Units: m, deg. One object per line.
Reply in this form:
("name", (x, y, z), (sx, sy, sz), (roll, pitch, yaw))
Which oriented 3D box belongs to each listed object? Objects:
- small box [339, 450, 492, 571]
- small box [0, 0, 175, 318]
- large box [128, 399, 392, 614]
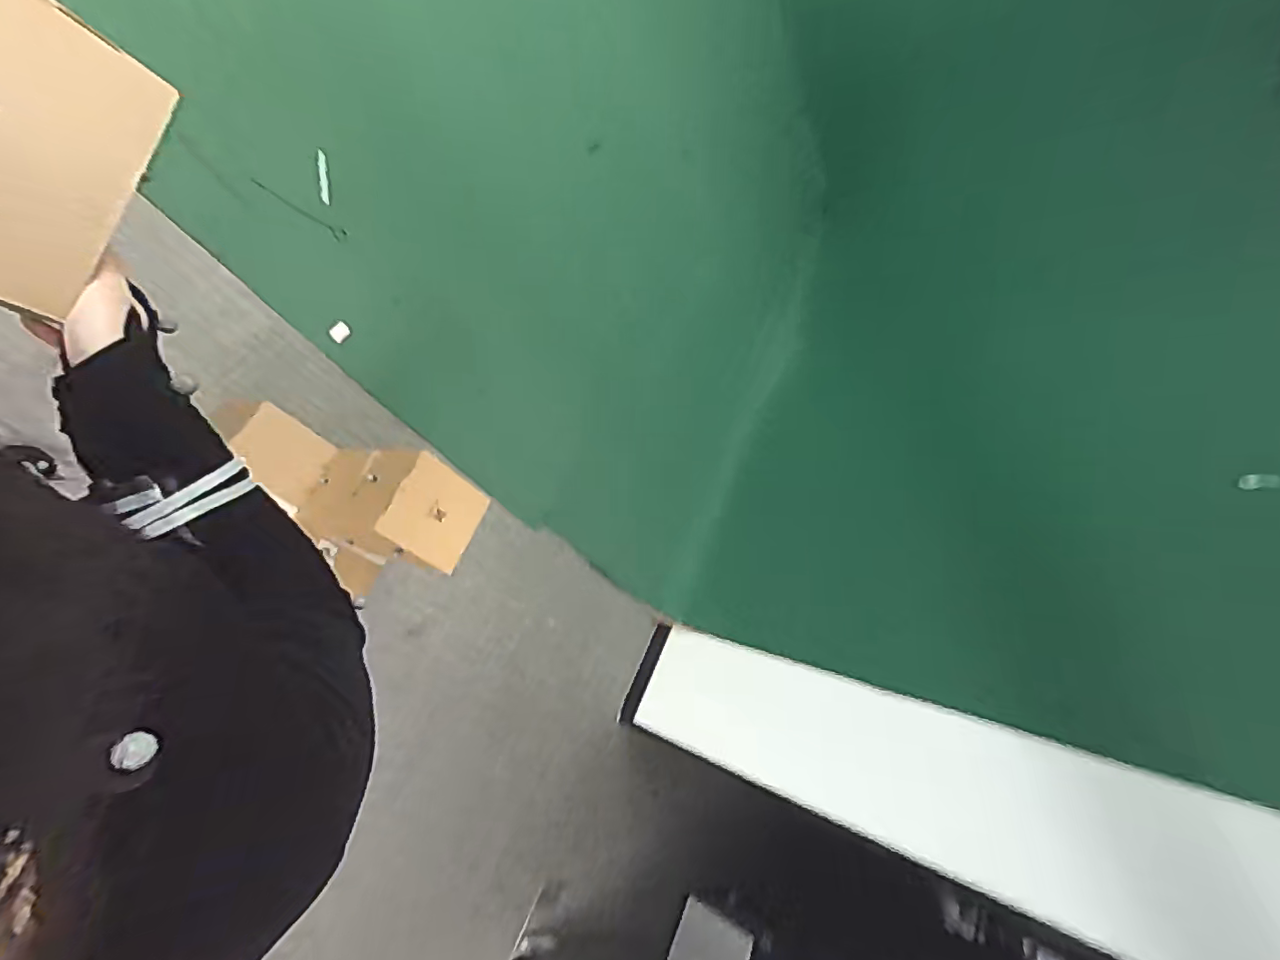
("small box", (-0.430, 0.054, 1.041), (0.179, 0.176, 0.168), (47, 57, -41))
("small box", (-0.445, -0.223, 0.335), (0.168, 0.176, 0.179), (28, 80, -54))
("large box", (-0.805, 0.058, 1.229), (0.408, 0.320, 0.320), (49, 58, -43))
